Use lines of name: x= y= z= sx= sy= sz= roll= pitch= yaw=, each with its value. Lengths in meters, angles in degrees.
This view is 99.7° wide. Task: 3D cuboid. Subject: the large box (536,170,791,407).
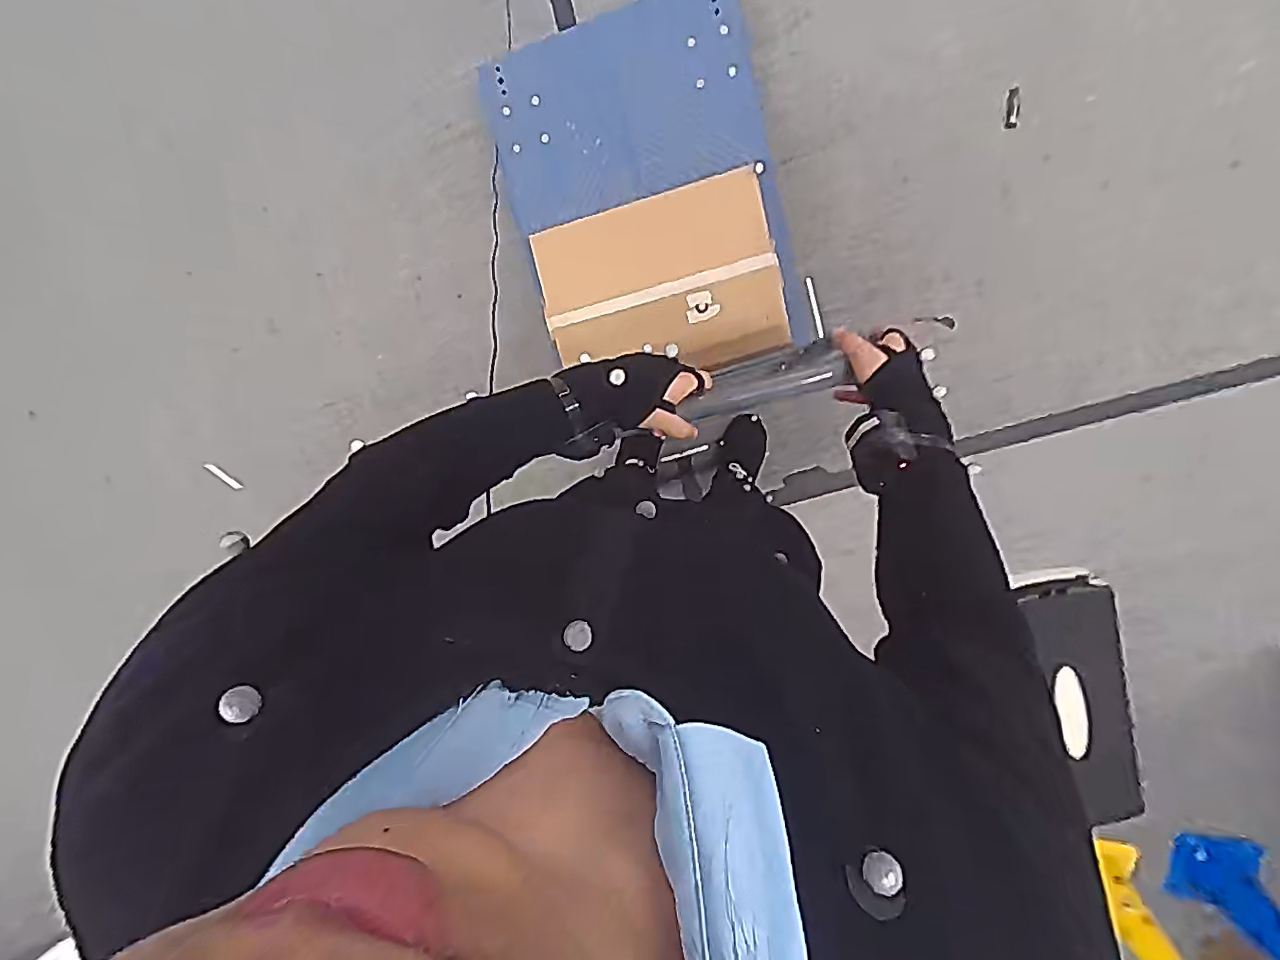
large box: x=0.056 y=-0.349 z=1.099 sx=0.408 sy=0.320 sz=0.320 roll=-13 pitch=98 yaw=9
